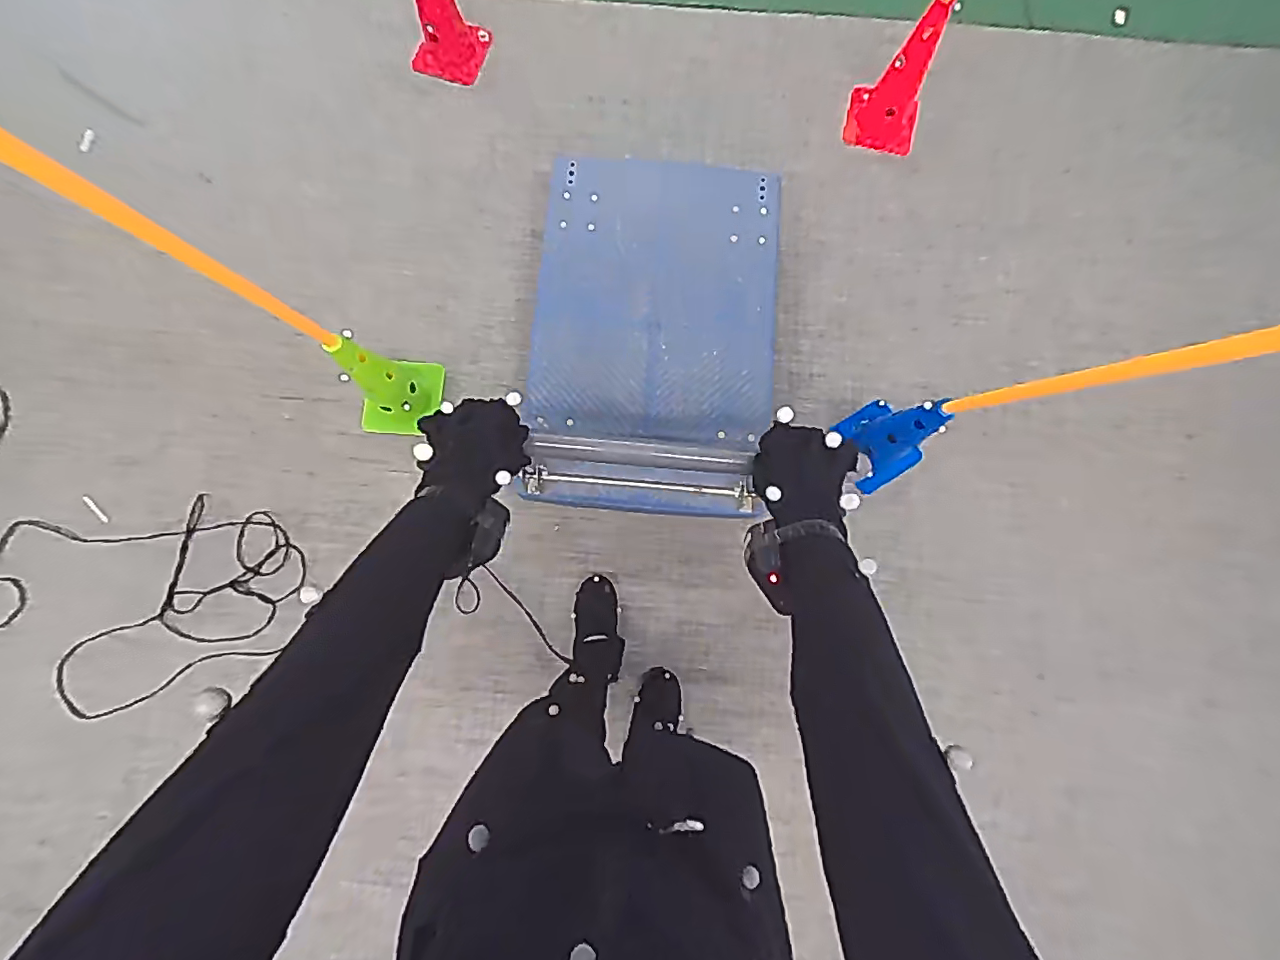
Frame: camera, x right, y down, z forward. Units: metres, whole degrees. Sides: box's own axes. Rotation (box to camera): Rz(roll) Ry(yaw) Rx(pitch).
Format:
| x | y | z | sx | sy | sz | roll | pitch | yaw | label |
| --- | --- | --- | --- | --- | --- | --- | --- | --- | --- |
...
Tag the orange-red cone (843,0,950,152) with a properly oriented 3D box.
| x | y | z | sx | sy | sz | roll | pitch | yaw | label |
| --- | --- | --- | --- | --- | --- | --- | --- | --- | --- |
| 0.699 | -1.080 | 1.402 | 0.198 | 0.360 | 0.199 | 16 | 82 | 4 | orange-red cone |
